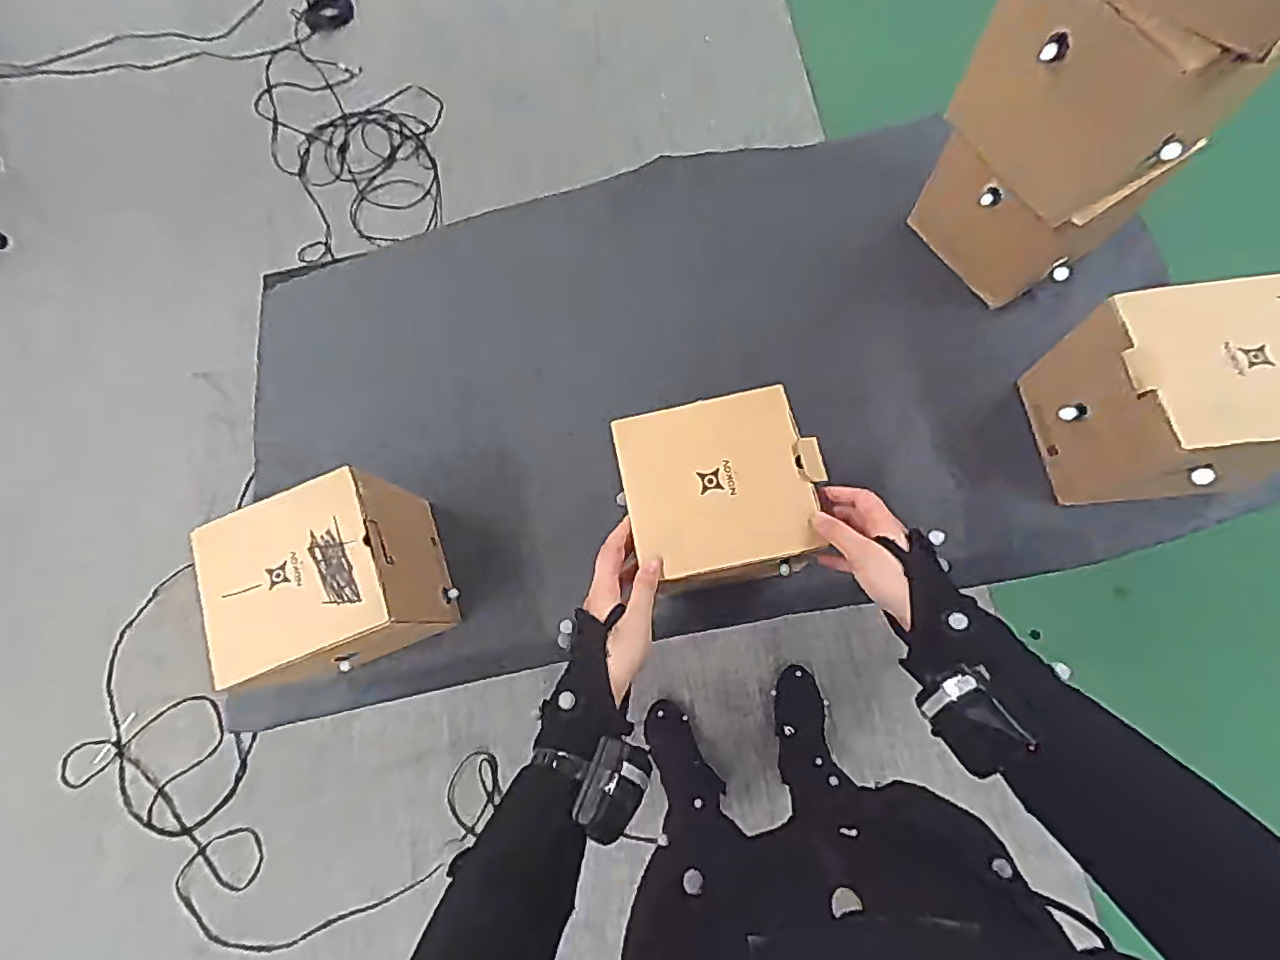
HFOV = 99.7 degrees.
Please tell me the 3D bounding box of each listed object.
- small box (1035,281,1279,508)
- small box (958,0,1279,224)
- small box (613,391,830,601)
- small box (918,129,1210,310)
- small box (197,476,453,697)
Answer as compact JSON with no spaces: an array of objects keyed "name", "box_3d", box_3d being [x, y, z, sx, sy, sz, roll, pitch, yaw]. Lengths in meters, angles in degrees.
[{"name":"small box","box_3d":[0.549,-0.075,0.555,0.179,0.176,0.168,-6,70,5]},{"name":"small box","box_3d":[0.432,-0.377,0.484,0.168,0.176,0.179,-29,74,1]},{"name":"small box","box_3d":[0.081,0.030,0.582,0.179,0.176,0.168,-12,73,3]},{"name":"small box","box_3d":[0.472,-0.340,0.641,0.168,0.176,0.179,-33,76,-1]},{"name":"small box","box_3d":[-0.326,0.117,0.596,0.179,0.176,0.168,-22,74,0]}]
